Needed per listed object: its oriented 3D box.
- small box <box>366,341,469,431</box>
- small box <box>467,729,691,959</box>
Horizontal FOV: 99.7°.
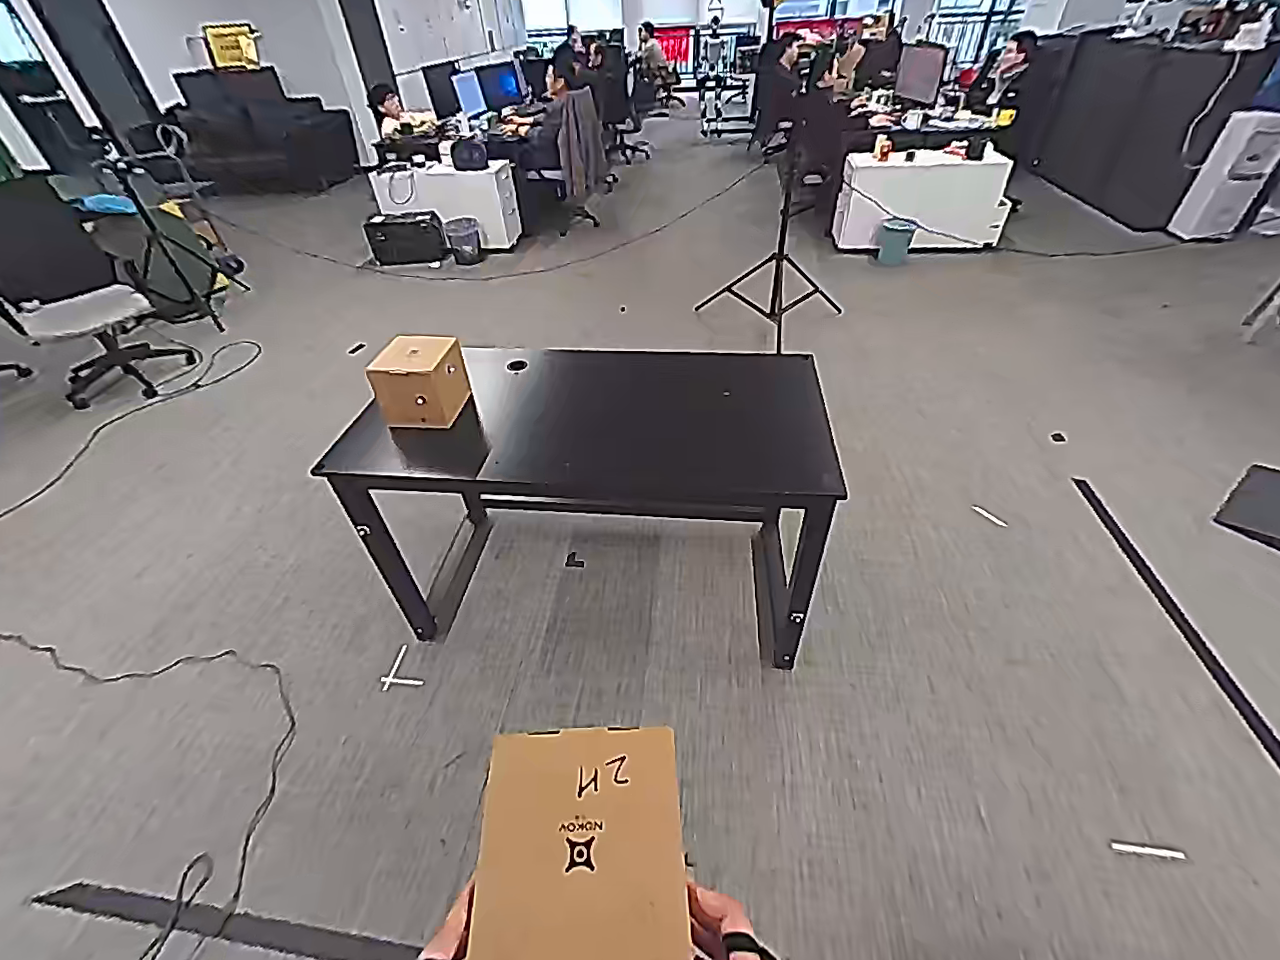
[{"bbox_3d":[-0.555,-0.240,1.380,0.168,0.176,0.179,3,41,5],"label":"small box"},{"bbox_3d":[-0.046,0.350,0.494,0.168,0.176,0.179,-2,46,-2],"label":"small box"}]
